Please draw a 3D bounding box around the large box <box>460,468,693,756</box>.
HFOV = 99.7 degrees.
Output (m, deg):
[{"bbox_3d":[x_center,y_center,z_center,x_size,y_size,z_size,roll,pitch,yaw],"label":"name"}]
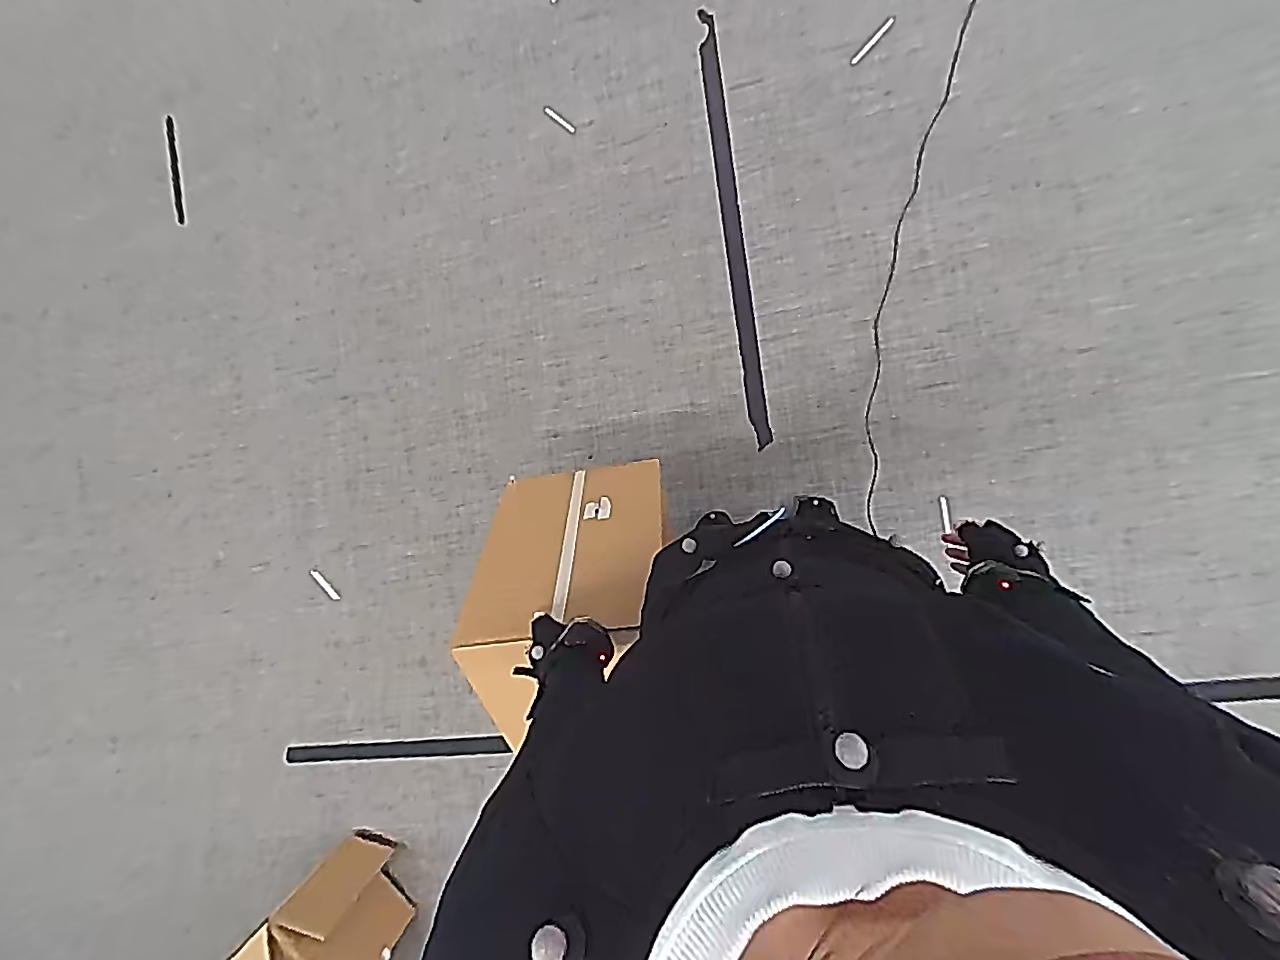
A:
[{"bbox_3d":[-0.086,0.231,1.007,0.320,0.408,0.320,-7,124,6],"label":"large box"}]
